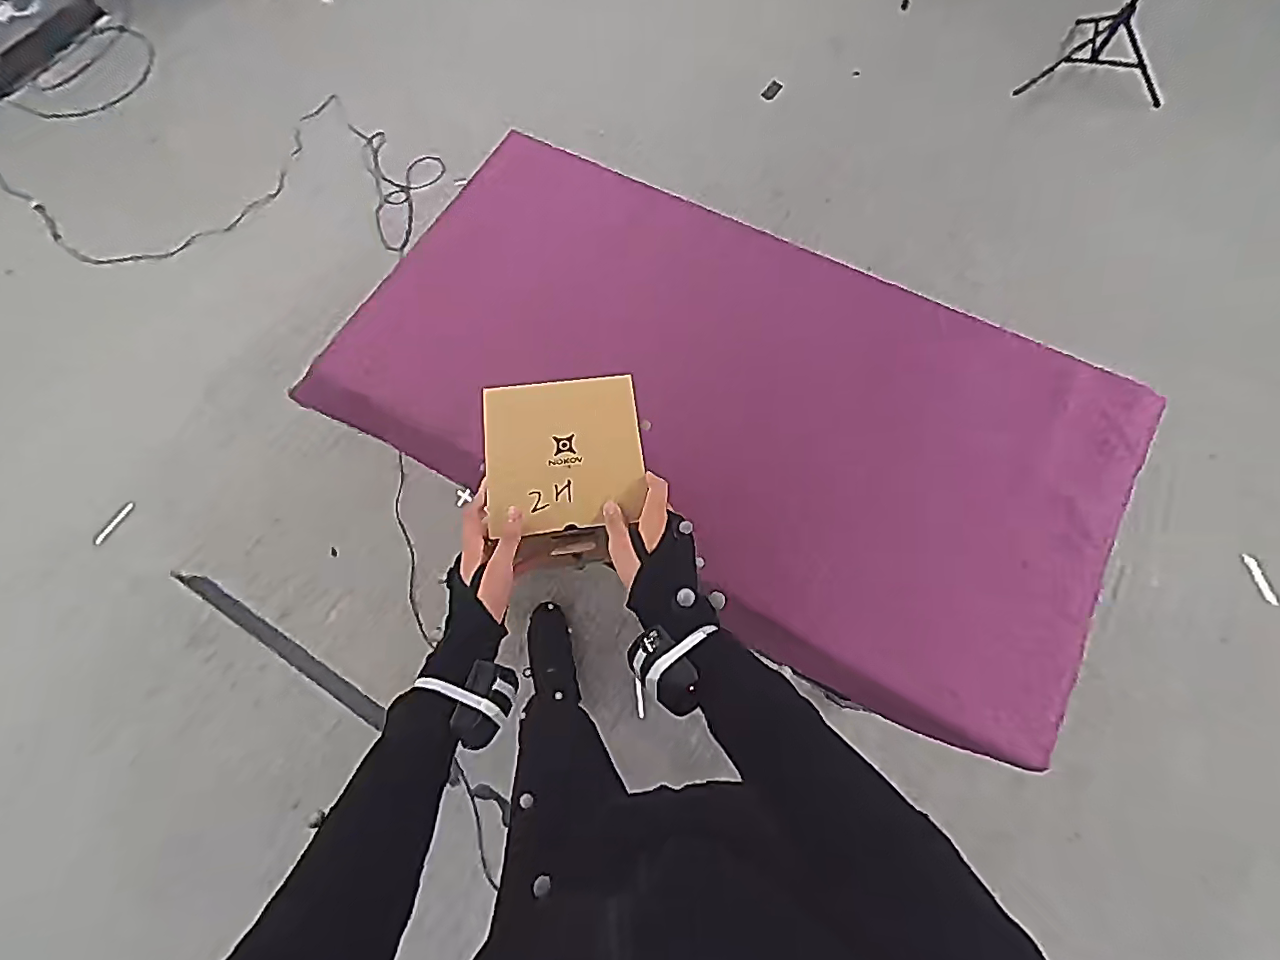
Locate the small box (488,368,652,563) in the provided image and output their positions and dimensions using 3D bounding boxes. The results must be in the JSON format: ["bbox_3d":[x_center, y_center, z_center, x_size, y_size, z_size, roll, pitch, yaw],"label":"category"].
[{"bbox_3d":[-0.080,-0.010,0.643,0.168,0.176,0.179,-6,70,-3],"label":"small box"}]
